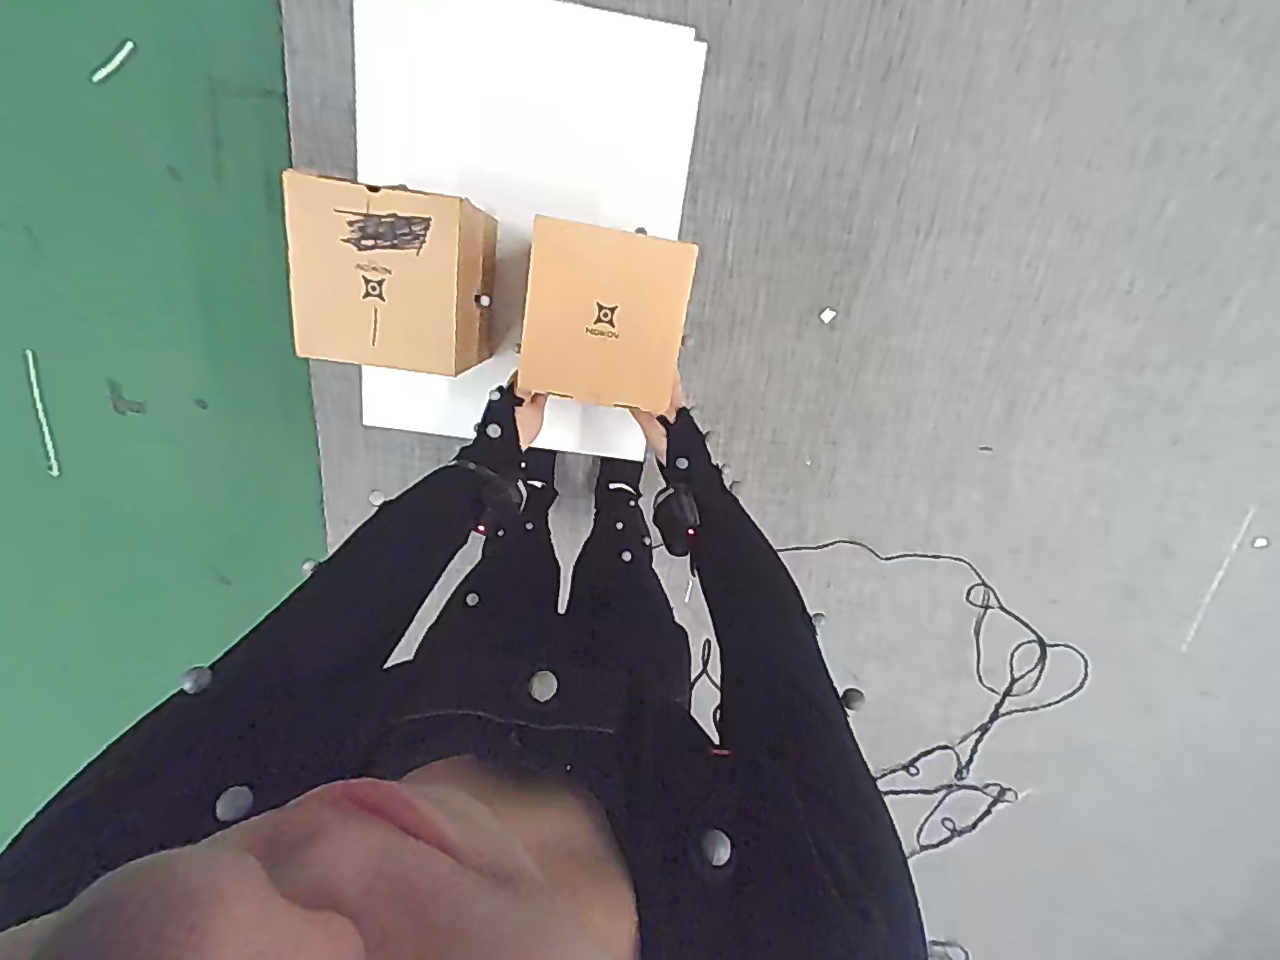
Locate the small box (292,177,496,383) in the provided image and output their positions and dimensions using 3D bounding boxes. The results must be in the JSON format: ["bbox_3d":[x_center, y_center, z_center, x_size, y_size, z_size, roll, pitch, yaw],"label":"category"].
[{"bbox_3d":[-0.266,-0.221,0.619,0.168,0.176,0.179,8,109,-5],"label":"small box"}]

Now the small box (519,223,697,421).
[{"bbox_3d":[-0.038,-0.184,0.638,0.168,0.176,0.179,9,108,-4],"label":"small box"}]
